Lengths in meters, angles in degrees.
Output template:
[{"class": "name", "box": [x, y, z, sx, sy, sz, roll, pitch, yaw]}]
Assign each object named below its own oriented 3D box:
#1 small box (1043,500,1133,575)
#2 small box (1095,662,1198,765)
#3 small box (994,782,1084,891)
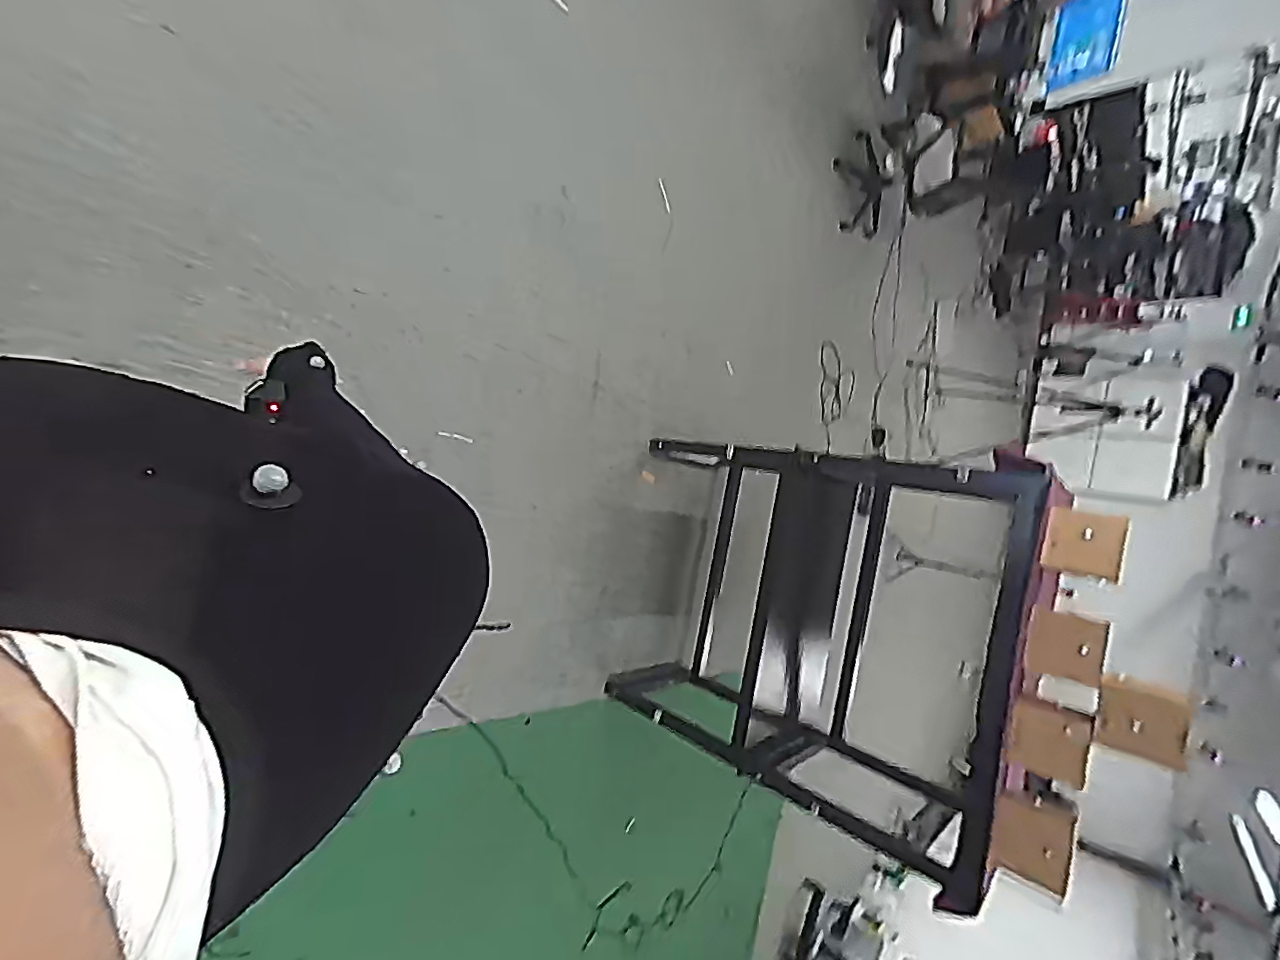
[{"class": "small box", "box": [1.211, 0.153, 1.464, 0.179, 0.176, 0.168, 16, 85, -48]}, {"class": "small box", "box": [1.256, 0.571, 1.348, 0.179, 0.176, 0.168, 7, 92, -47]}, {"class": "small box", "box": [1.069, 0.940, 1.452, 0.168, 0.176, 0.179, 17, 84, -46]}]
